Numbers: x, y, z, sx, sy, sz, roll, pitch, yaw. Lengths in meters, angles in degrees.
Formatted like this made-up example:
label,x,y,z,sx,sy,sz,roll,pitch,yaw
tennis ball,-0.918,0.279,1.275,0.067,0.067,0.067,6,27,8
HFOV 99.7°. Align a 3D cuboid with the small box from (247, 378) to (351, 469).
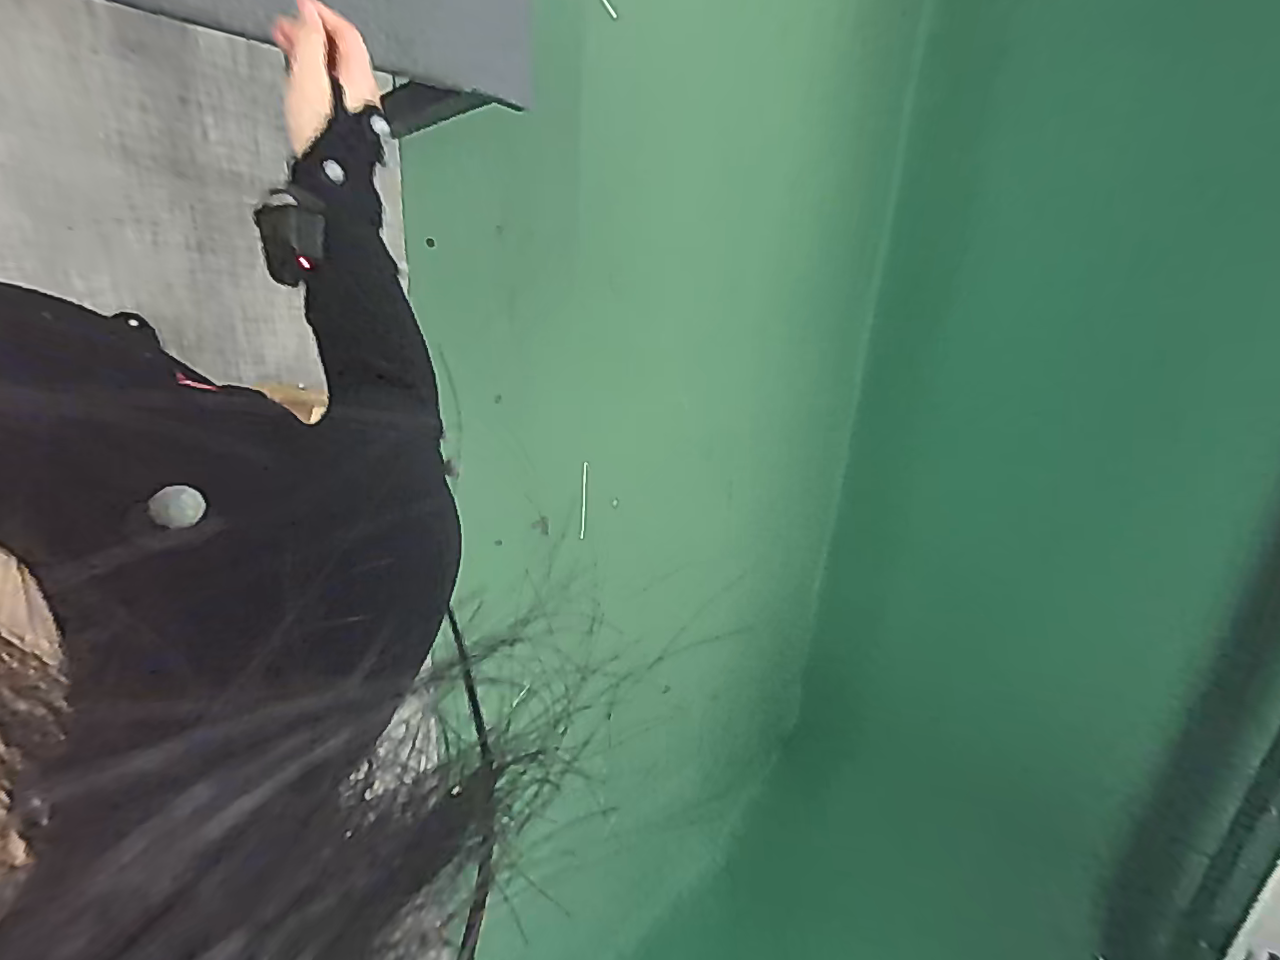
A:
label,x,y,z,sx,sy,sz,roll,pitch,yaw
small box,-0.799,-0.131,1.264,0.168,0.176,0.179,-2,107,-48
